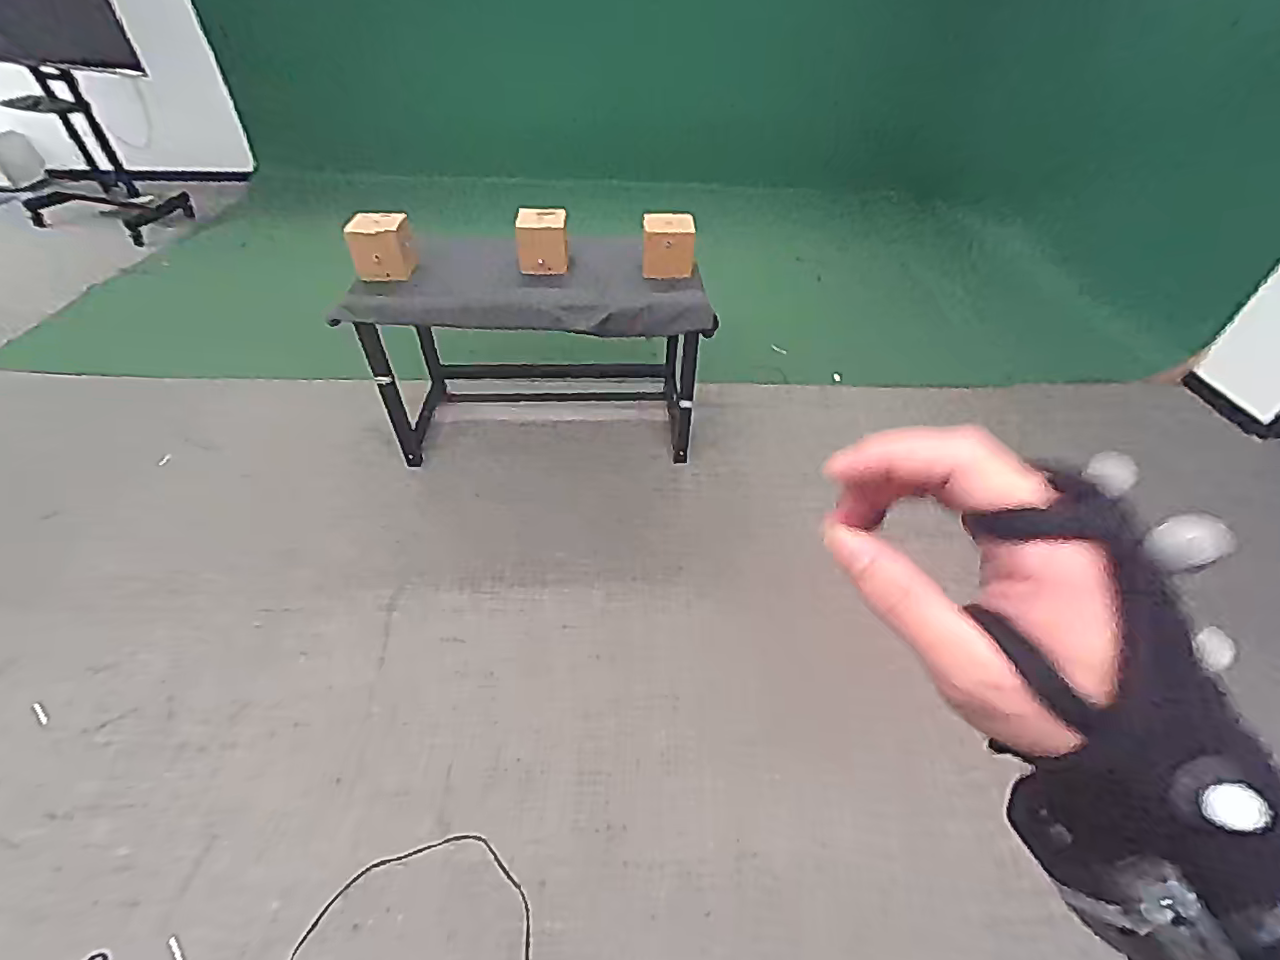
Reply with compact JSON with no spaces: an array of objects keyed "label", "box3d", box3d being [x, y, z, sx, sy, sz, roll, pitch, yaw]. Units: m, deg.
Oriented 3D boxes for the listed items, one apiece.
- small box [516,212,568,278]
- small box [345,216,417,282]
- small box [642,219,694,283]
[{"label":"small box","box3d":[-0.350,-0.854,1.965,0.168,0.176,0.179,-1,46,-3]},{"label":"small box","box3d":[-0.895,-0.806,1.889,0.168,0.176,0.179,-2,45,-5]},{"label":"small box","box3d":[0.096,-0.830,1.963,0.179,0.176,0.168,2,46,-2]}]
